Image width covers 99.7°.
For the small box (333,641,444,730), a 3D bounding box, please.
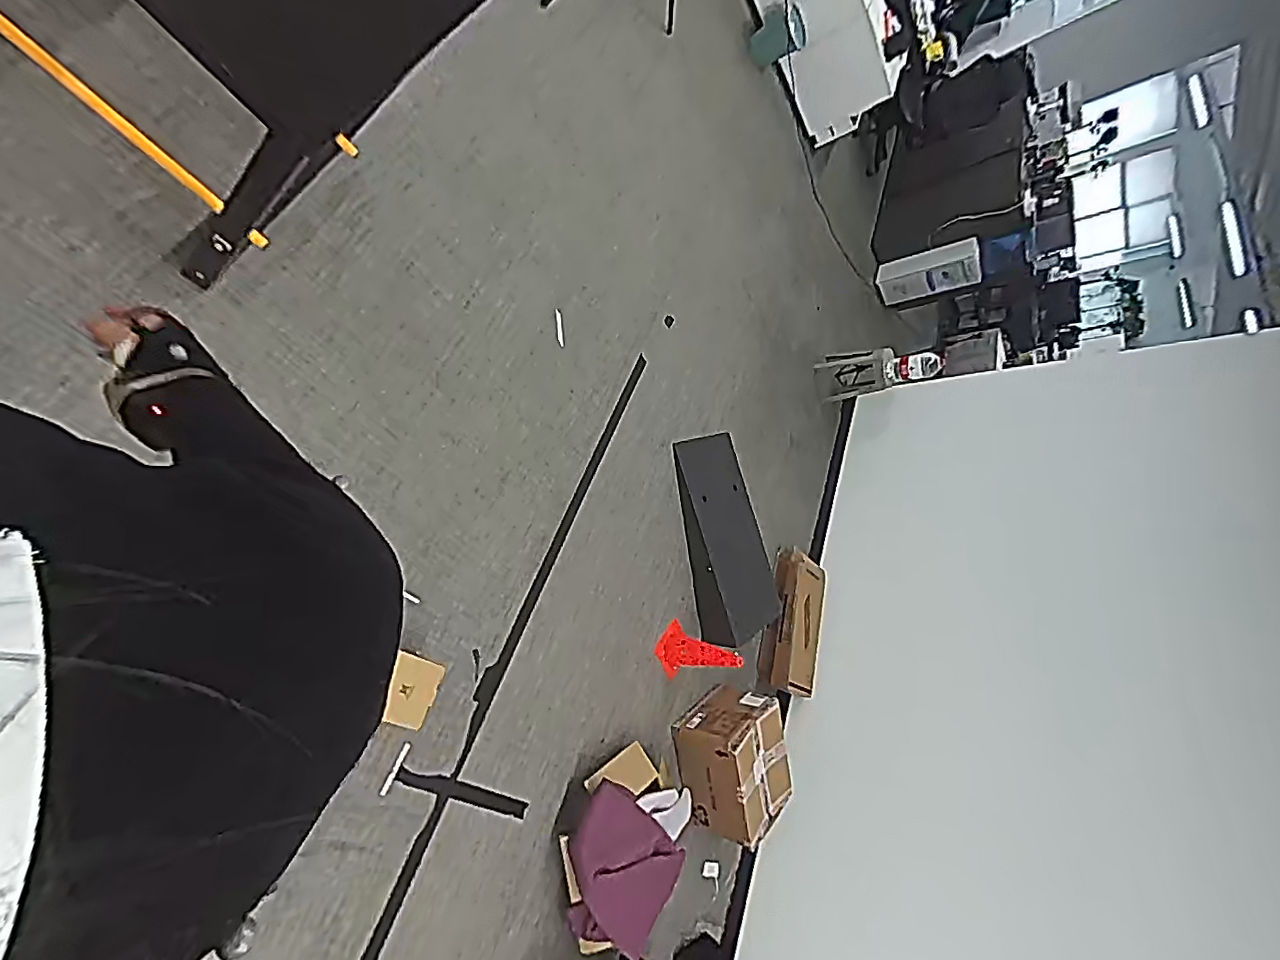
[{"bbox_3d":[-0.661,0.536,1.422,0.179,0.176,0.168,40,57,-38],"label":"small box"}]
